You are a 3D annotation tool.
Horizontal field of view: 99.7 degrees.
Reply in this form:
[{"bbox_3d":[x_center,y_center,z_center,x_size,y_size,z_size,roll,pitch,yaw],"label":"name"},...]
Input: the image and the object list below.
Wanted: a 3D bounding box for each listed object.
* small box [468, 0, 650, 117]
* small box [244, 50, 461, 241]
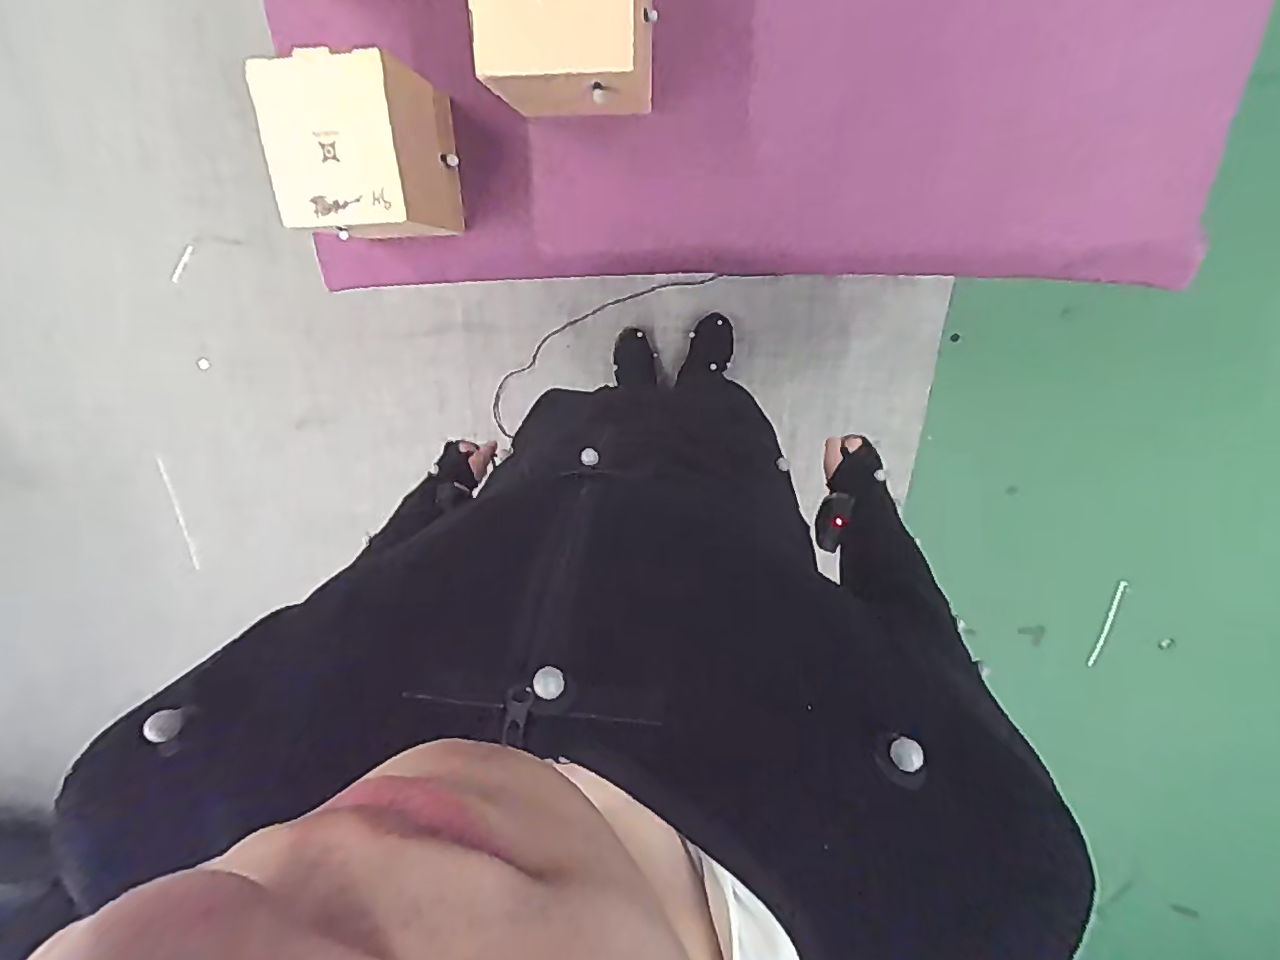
[{"bbox_3d":[-0.081,-0.529,0.613,0.179,0.176,0.168,3,112,6],"label":"small box"},{"bbox_3d":[-0.349,-0.410,0.694,0.168,0.176,0.179,2,110,8],"label":"small box"}]
